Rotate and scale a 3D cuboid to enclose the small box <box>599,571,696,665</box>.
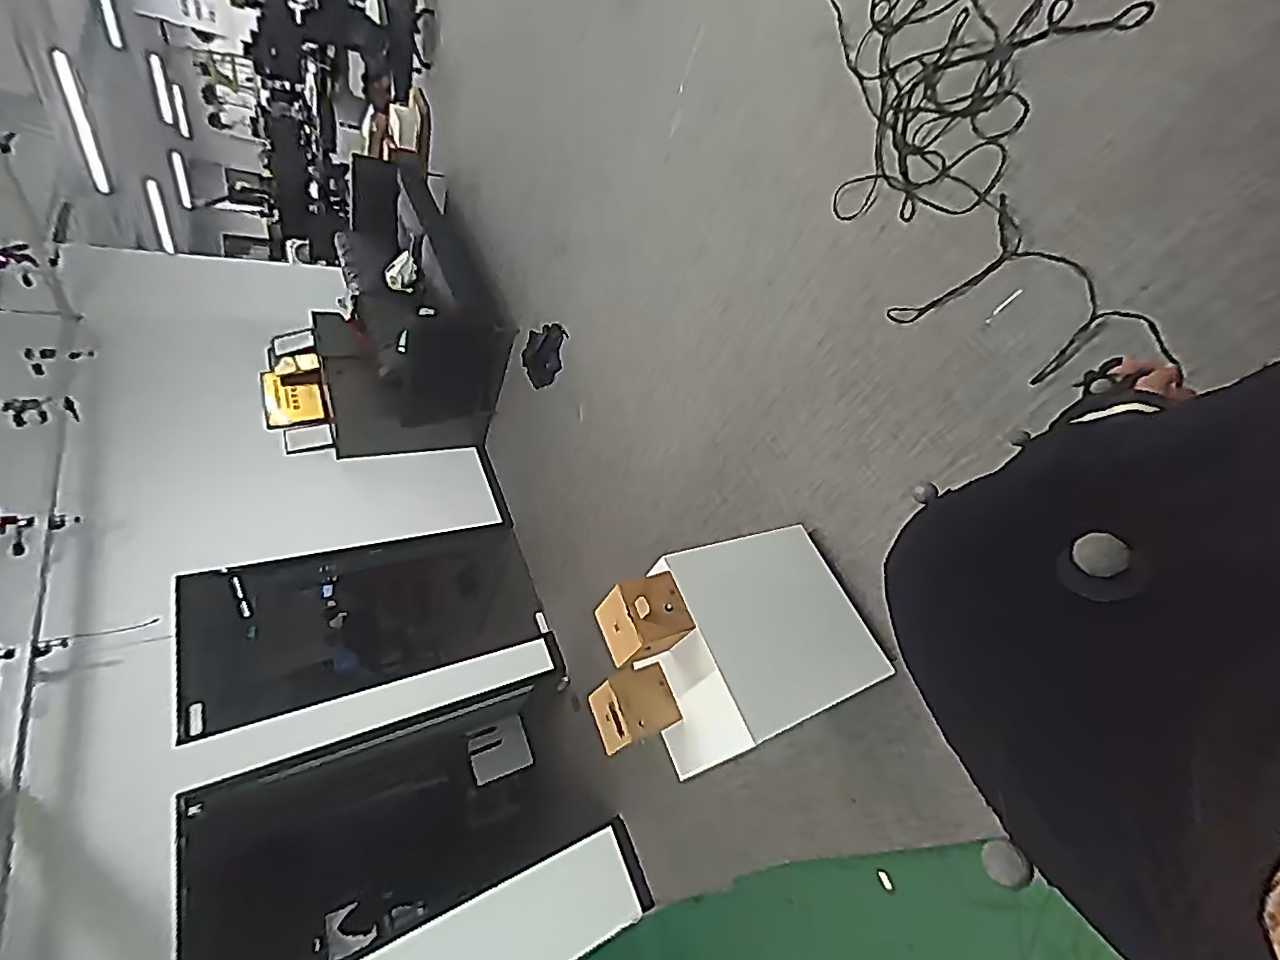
[{"bbox_3d":[0.018,0.360,1.413,0.168,0.176,0.179,64,144,26],"label":"small box"}]
